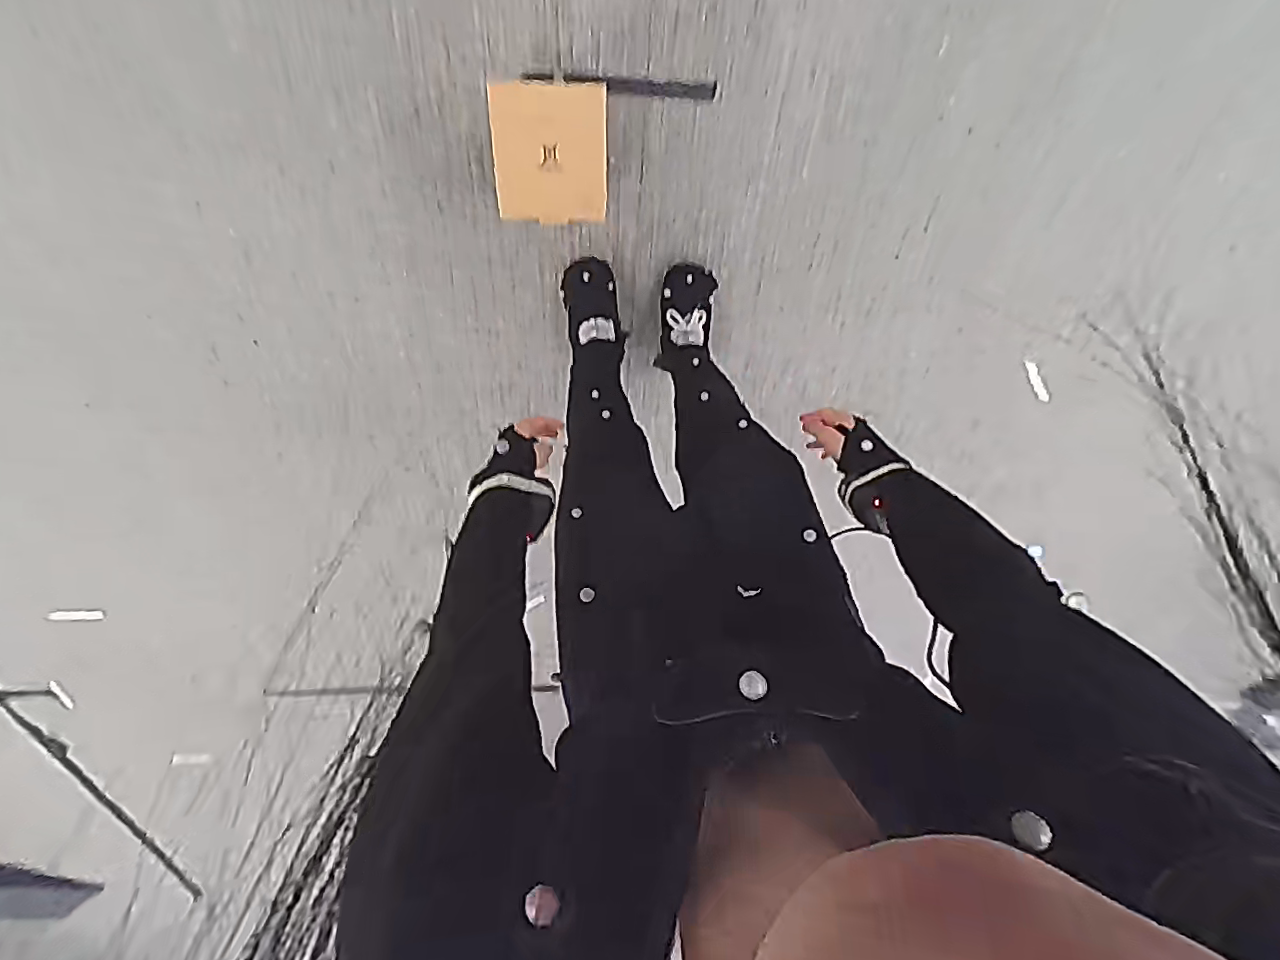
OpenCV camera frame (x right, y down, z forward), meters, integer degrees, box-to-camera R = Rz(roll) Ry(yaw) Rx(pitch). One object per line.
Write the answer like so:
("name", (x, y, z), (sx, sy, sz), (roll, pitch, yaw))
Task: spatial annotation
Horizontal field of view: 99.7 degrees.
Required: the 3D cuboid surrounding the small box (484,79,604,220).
("small box", (-0.140, -0.520, 0.853), (0.168, 0.176, 0.179), (-3, 124, -5))
